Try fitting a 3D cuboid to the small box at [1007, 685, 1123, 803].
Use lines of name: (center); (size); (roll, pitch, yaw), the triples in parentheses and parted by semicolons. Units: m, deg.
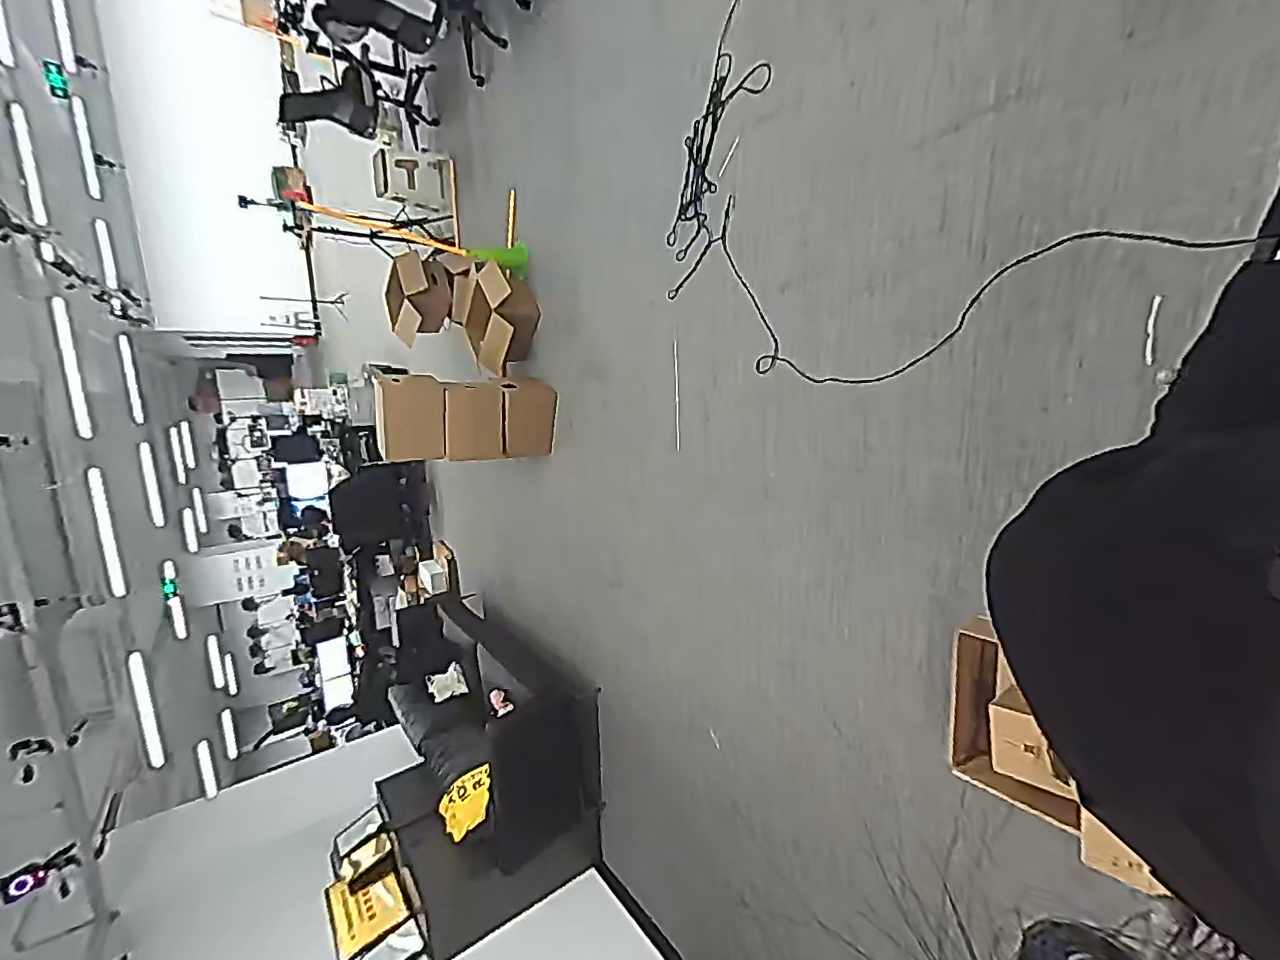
small box: (0.987, 0.597, 1.252); (0.179, 0.176, 0.168); (-1, 96, 55)
